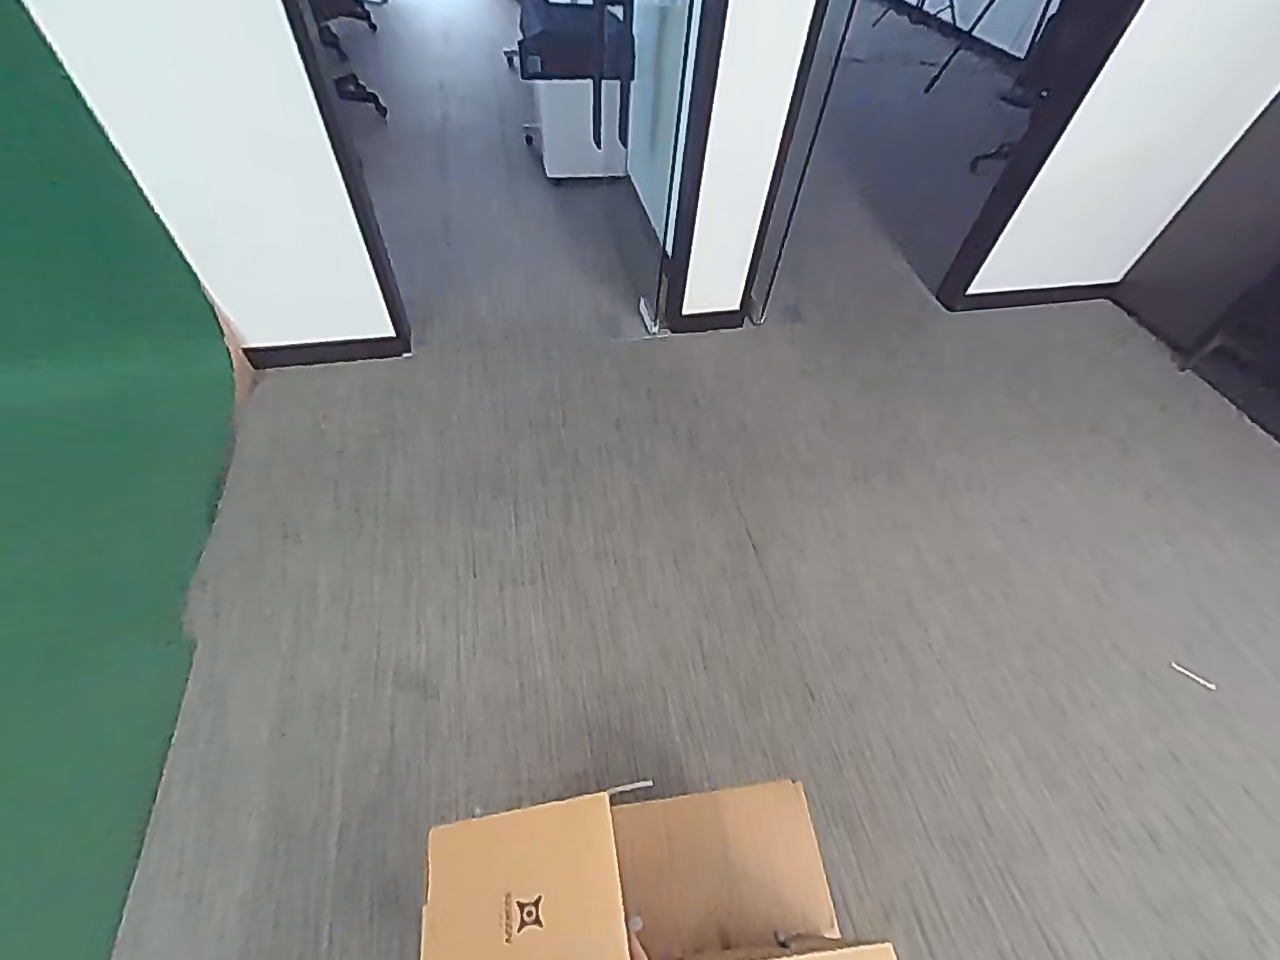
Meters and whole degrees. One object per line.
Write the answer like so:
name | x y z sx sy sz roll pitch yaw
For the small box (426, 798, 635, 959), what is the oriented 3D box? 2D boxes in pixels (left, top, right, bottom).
small box | -0.099 0.437 0.537 0.179 0.176 0.168 -8 49 -6

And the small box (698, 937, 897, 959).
small box | 0.147 0.532 0.483 0.168 0.176 0.179 -2 51 -7
